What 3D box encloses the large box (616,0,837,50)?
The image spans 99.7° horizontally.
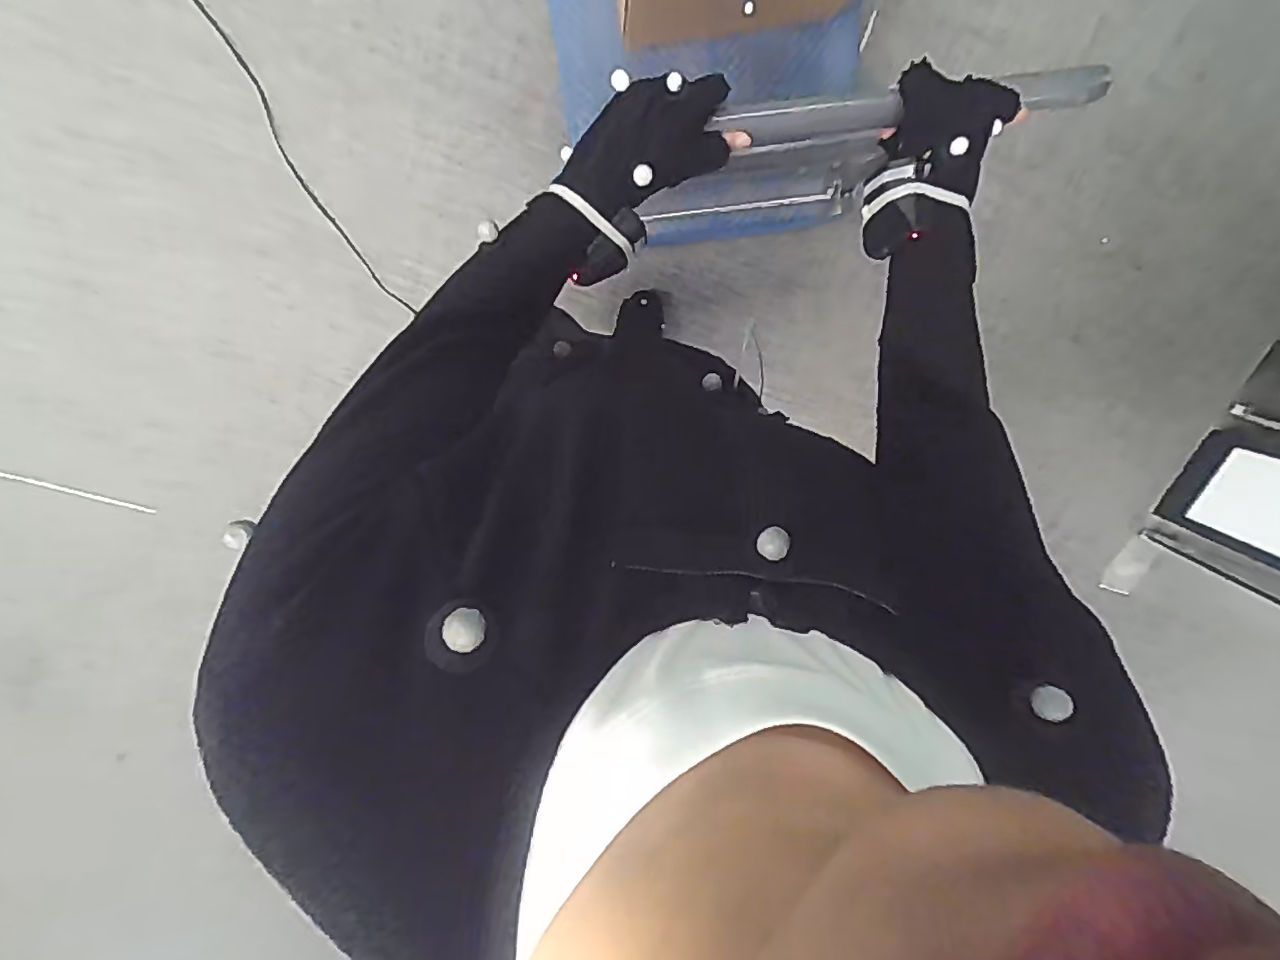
[{"bbox_3d":[0.150,-0.925,0.829,0.408,0.320,0.320,-10,112,0],"label":"large box"}]
